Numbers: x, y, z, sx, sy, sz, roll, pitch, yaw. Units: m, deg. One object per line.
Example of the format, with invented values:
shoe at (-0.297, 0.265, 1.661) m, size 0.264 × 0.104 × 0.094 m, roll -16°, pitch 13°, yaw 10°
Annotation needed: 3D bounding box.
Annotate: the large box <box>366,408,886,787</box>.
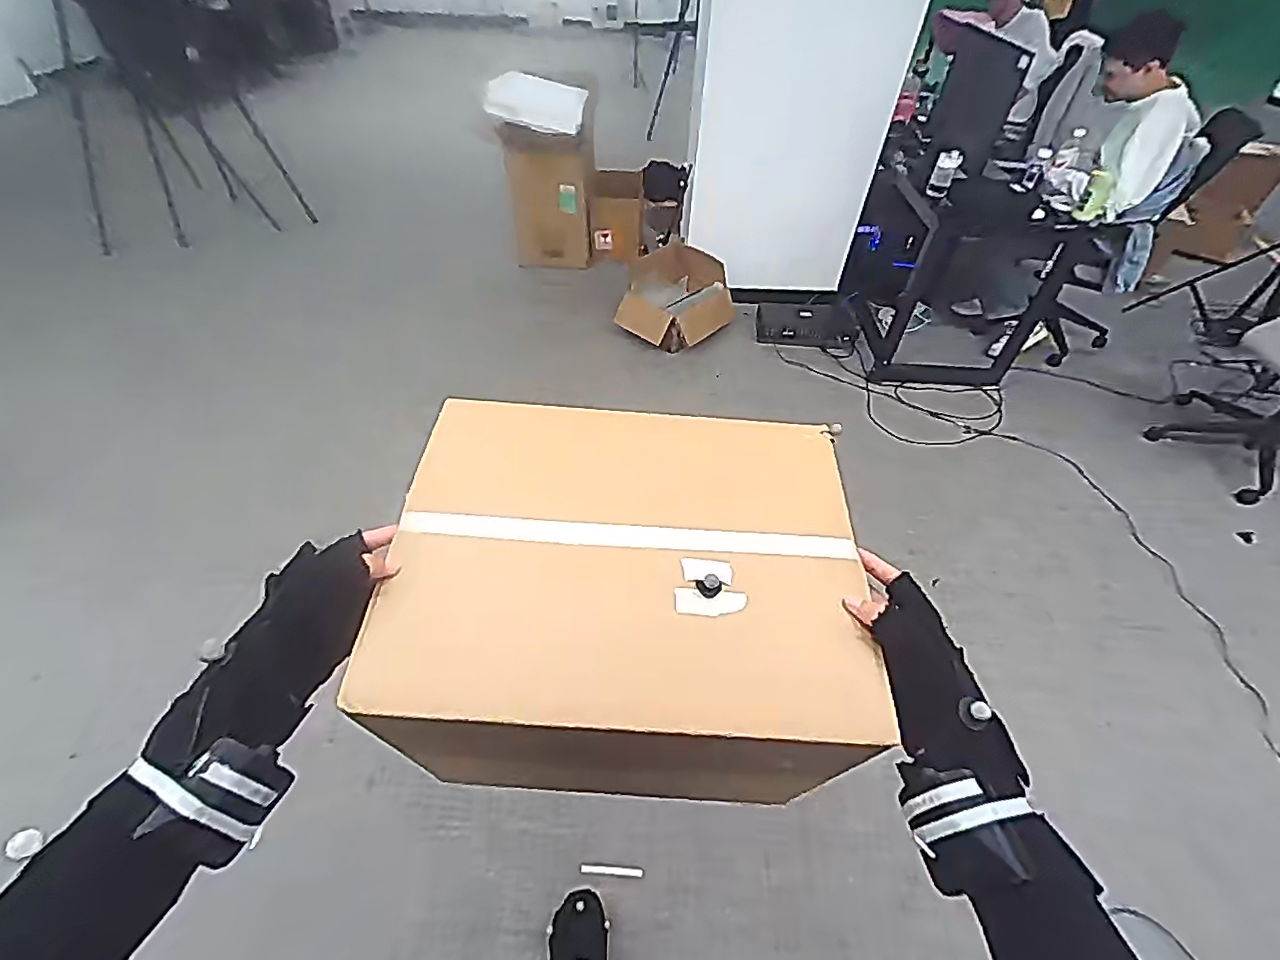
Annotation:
large box at (-0.014, 0.144, 0.613) m, size 0.408 × 0.320 × 0.320 m, roll 4°, pitch 53°, yaw -2°
